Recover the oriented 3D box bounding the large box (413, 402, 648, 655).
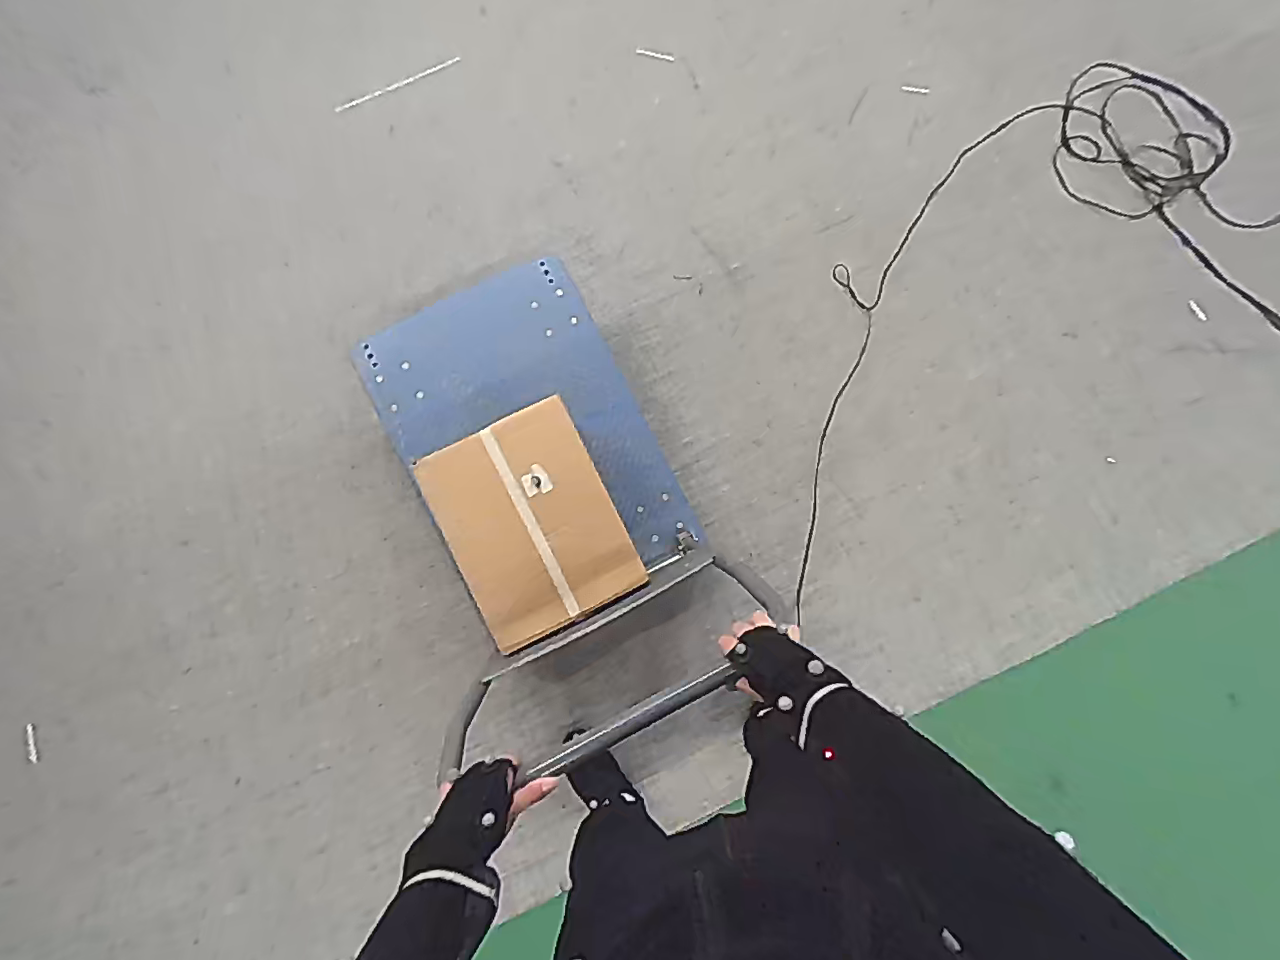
[{"bbox_3d":[-0.214,0.100,1.184,0.320,0.320,0.408,-28,87,-5],"label":"large box"}]
